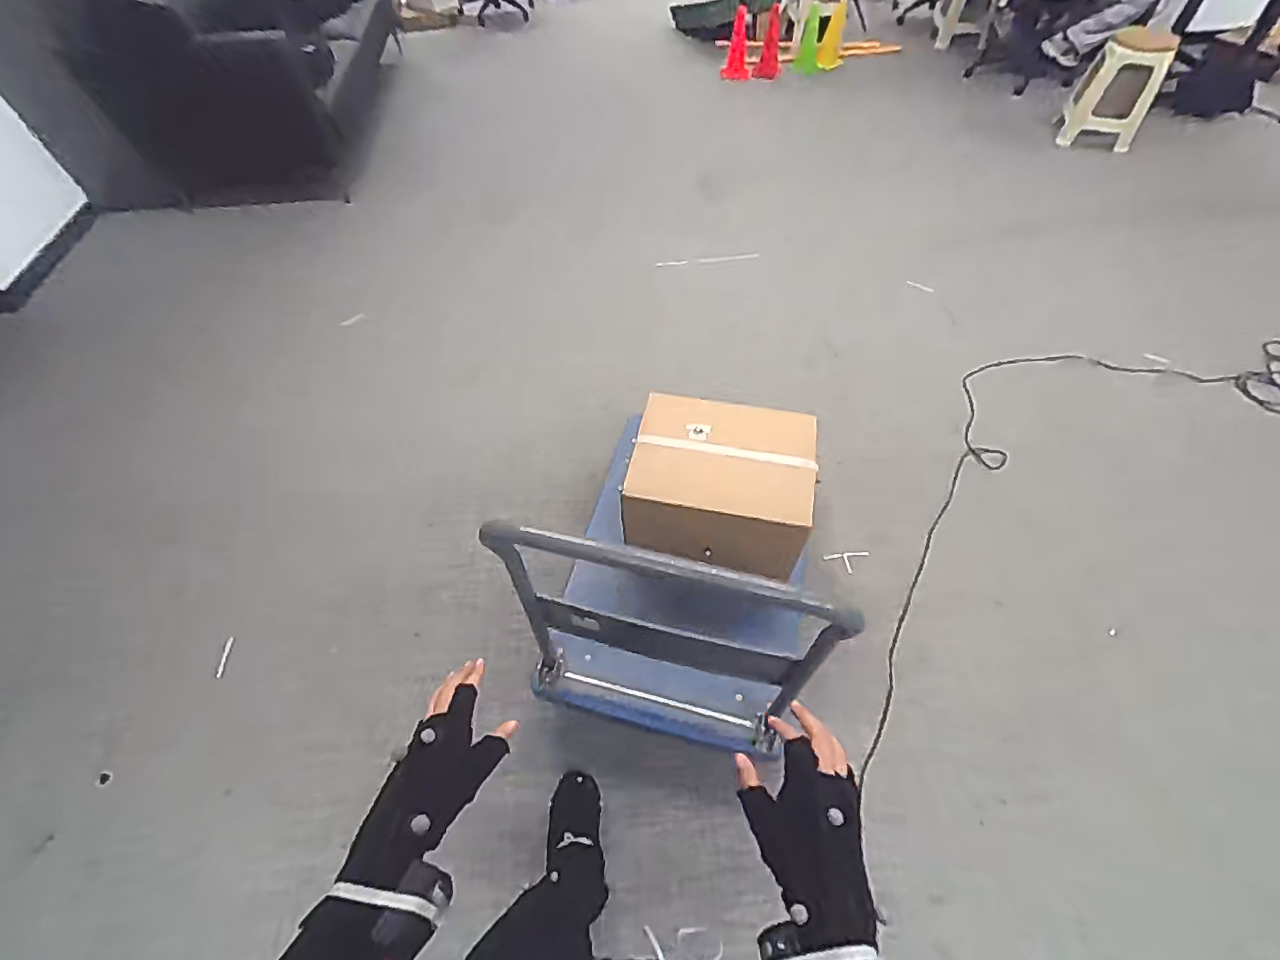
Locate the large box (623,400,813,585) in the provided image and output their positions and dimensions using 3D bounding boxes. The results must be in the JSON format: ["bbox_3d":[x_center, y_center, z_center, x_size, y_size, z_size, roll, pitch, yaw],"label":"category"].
[{"bbox_3d":[0.195,0.034,1.343,0.408,0.320,0.320,8,54,9],"label":"large box"}]
